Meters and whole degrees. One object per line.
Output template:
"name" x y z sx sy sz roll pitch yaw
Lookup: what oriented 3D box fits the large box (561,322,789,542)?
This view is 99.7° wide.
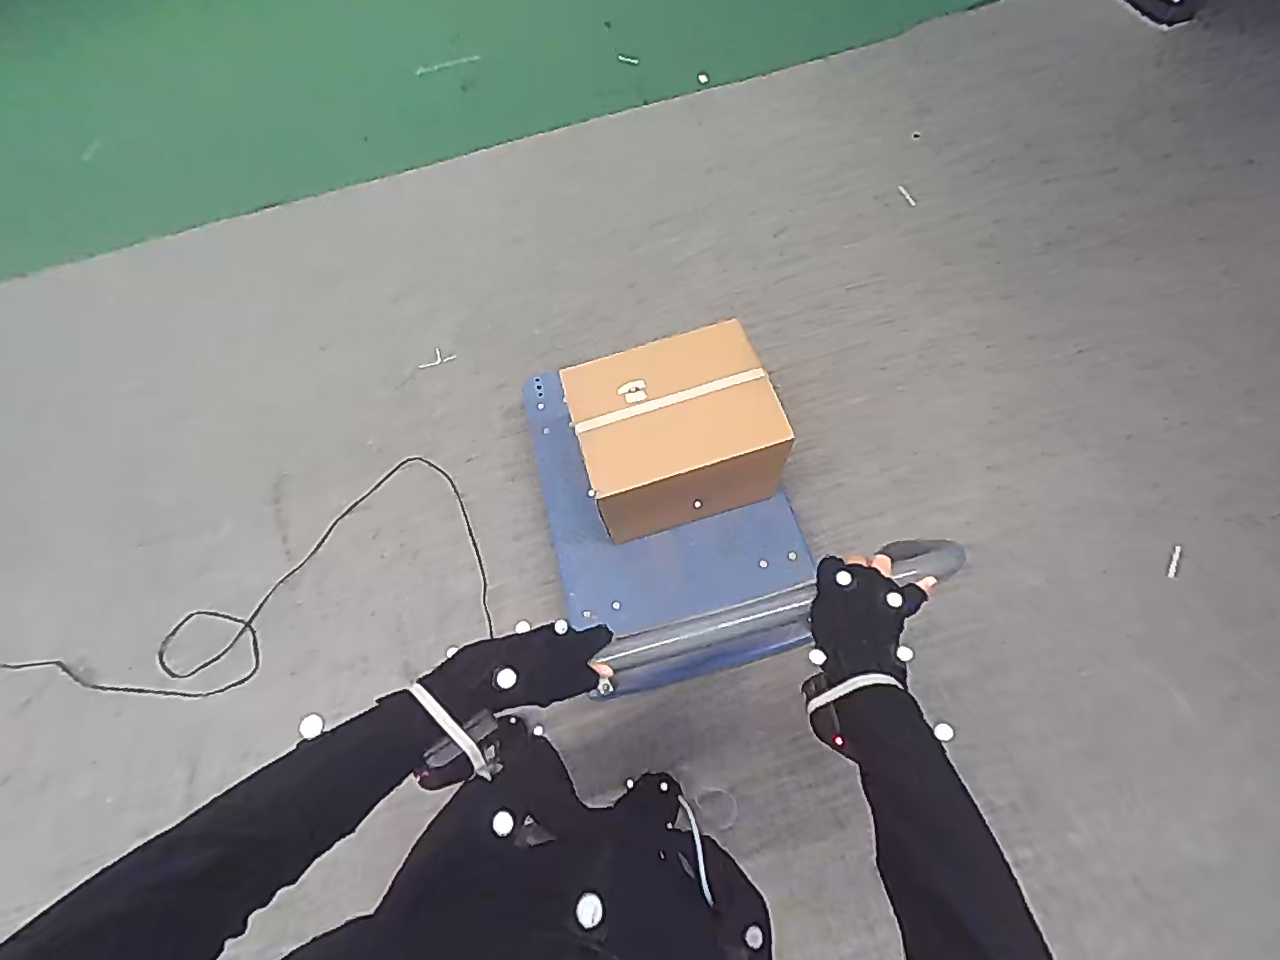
"large box" 0.076 -0.095 1.245 0.408 0.320 0.320 -19 66 -2
